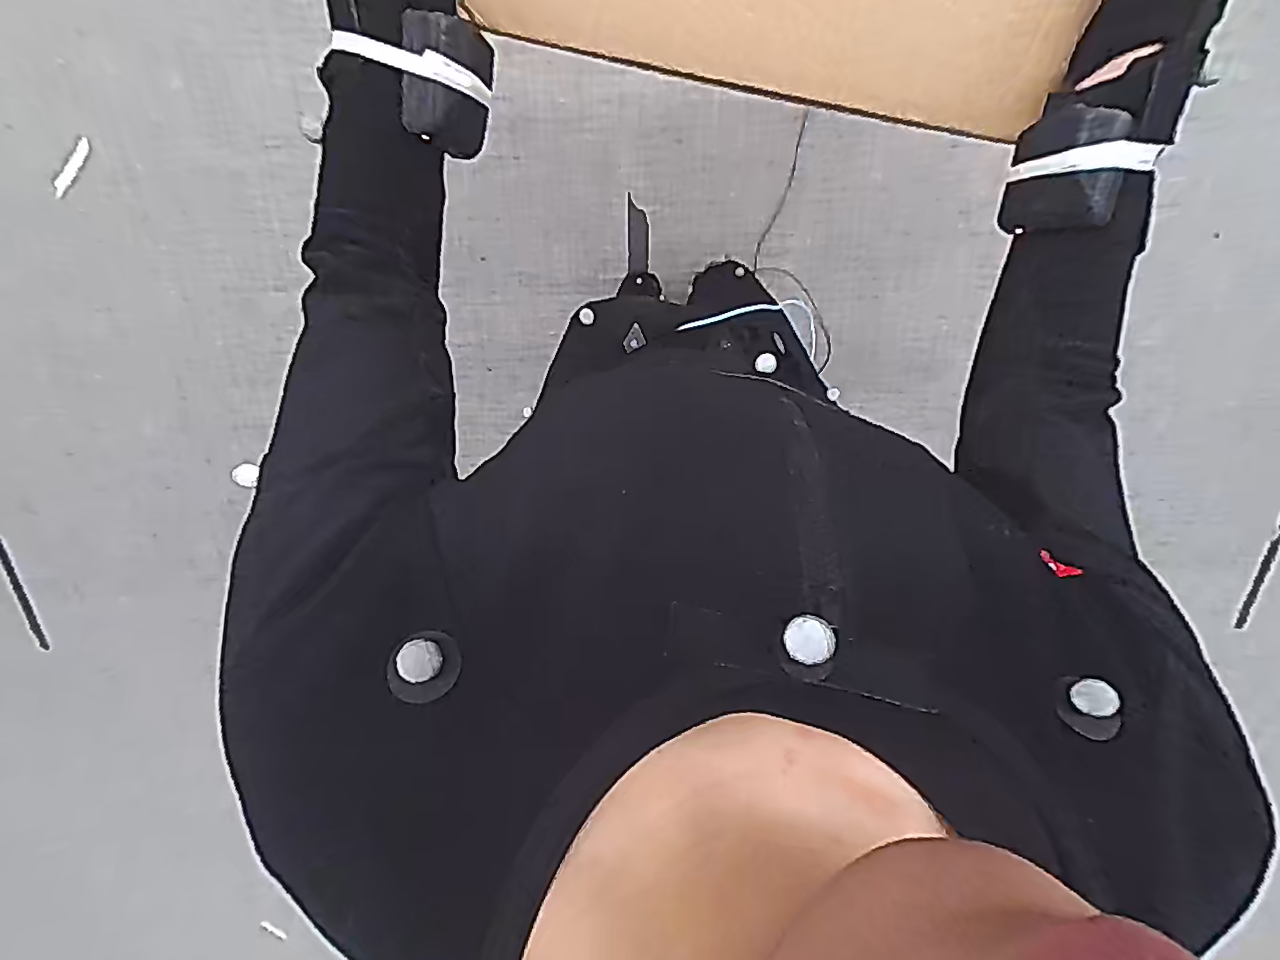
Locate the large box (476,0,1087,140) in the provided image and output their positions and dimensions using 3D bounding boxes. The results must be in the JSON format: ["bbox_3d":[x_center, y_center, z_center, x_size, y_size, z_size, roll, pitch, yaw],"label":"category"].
[{"bbox_3d":[0.105,-0.484,0.408,0.408,0.320,0.320,7,128,-8],"label":"large box"}]
